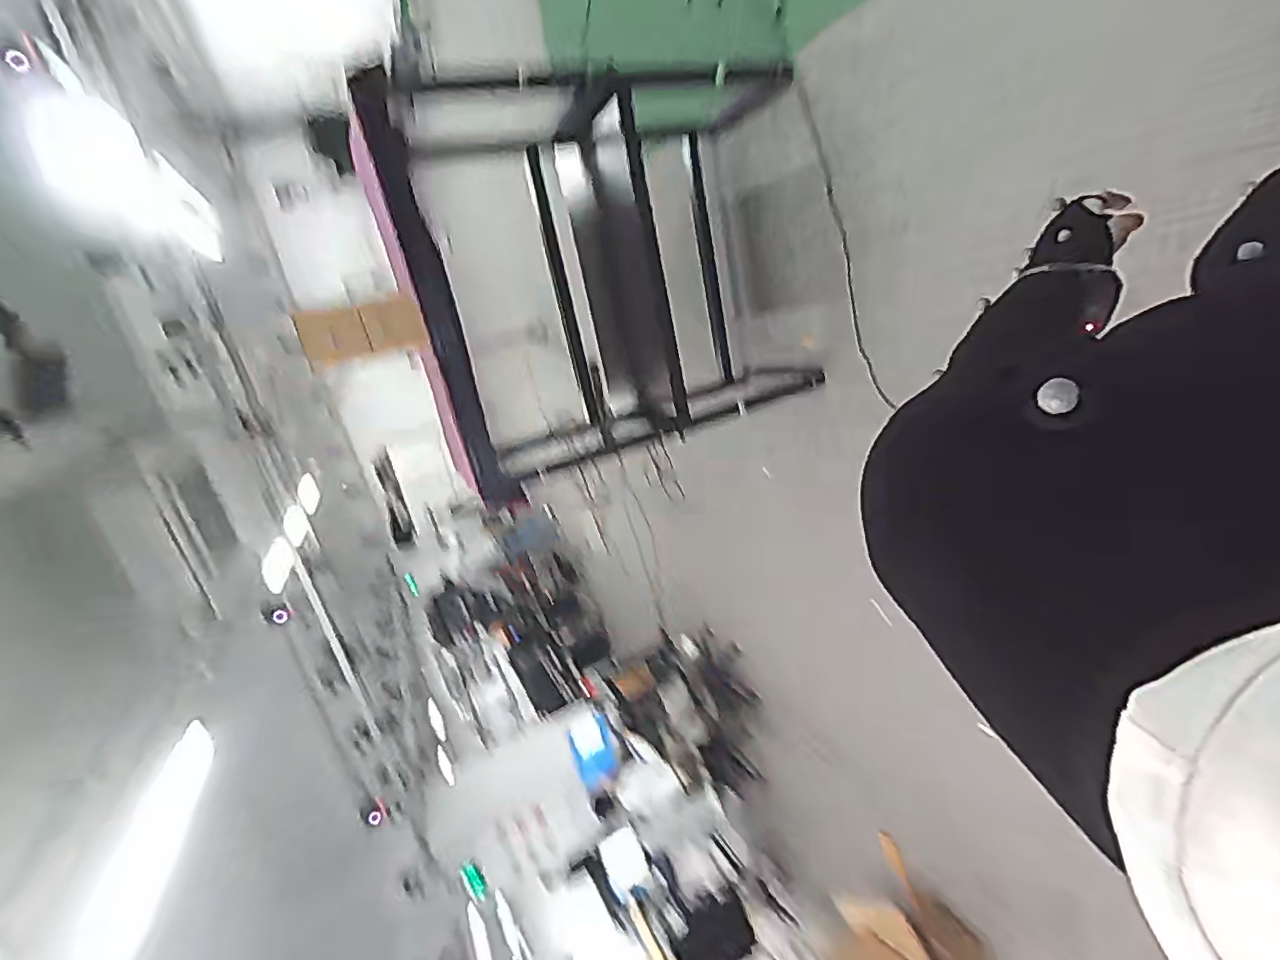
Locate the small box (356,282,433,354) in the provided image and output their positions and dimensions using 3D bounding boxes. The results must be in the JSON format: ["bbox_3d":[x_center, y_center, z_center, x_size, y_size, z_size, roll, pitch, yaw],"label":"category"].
[{"bbox_3d":[-0.739,-0.488,1.637,0.168,0.176,0.179,22,128,62],"label":"small box"}]

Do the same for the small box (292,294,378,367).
[{"bbox_3d":[-0.883,-0.437,1.578,0.168,0.176,0.179,22,129,62],"label":"small box"}]
